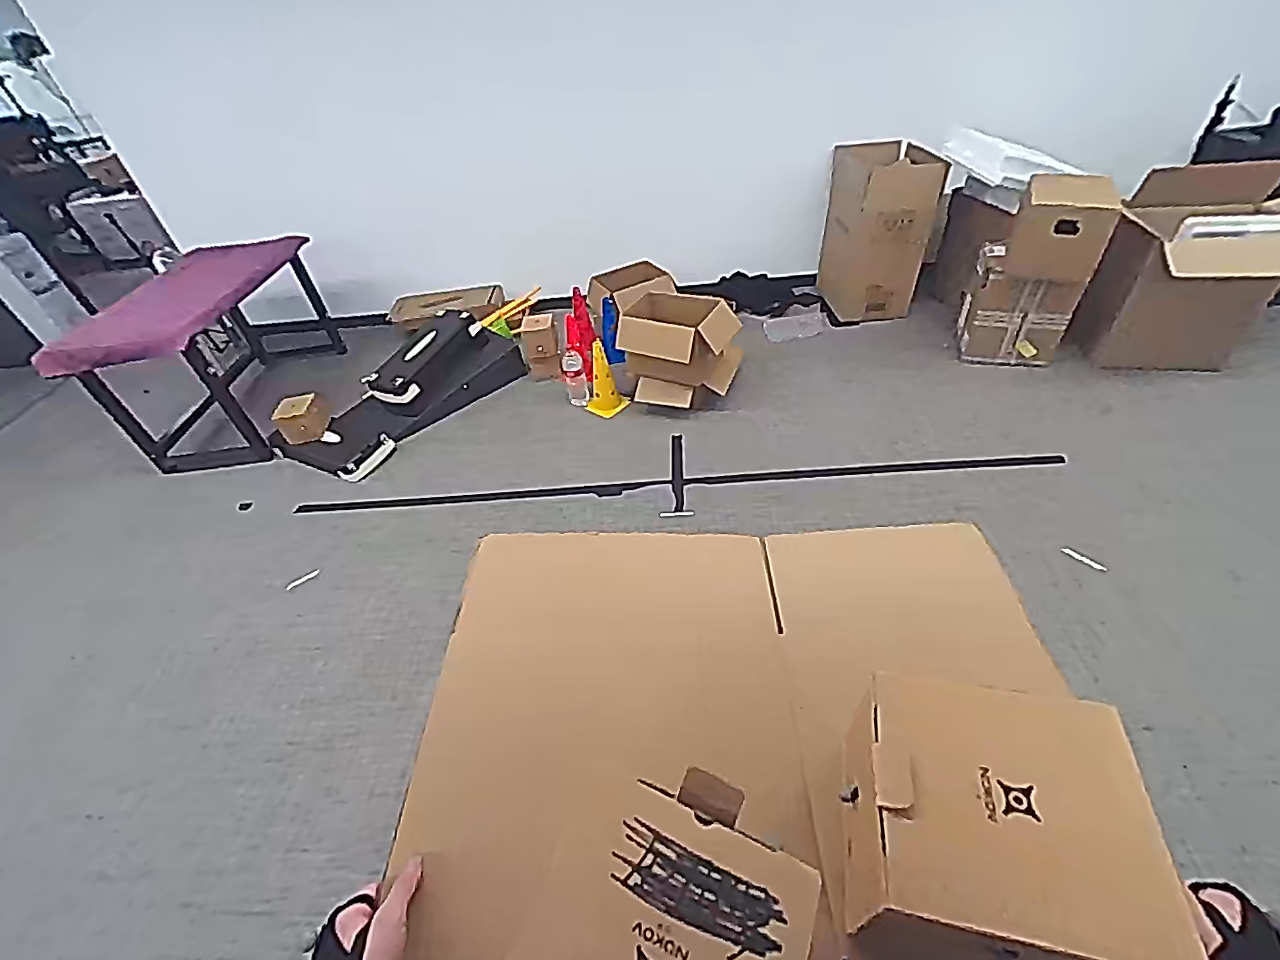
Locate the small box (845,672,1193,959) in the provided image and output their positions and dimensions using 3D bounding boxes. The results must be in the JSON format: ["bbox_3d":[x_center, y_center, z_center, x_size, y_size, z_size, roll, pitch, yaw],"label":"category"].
[{"bbox_3d":[0.275,0.285,0.448,0.179,0.176,0.168,4,46,15],"label":"small box"}]
